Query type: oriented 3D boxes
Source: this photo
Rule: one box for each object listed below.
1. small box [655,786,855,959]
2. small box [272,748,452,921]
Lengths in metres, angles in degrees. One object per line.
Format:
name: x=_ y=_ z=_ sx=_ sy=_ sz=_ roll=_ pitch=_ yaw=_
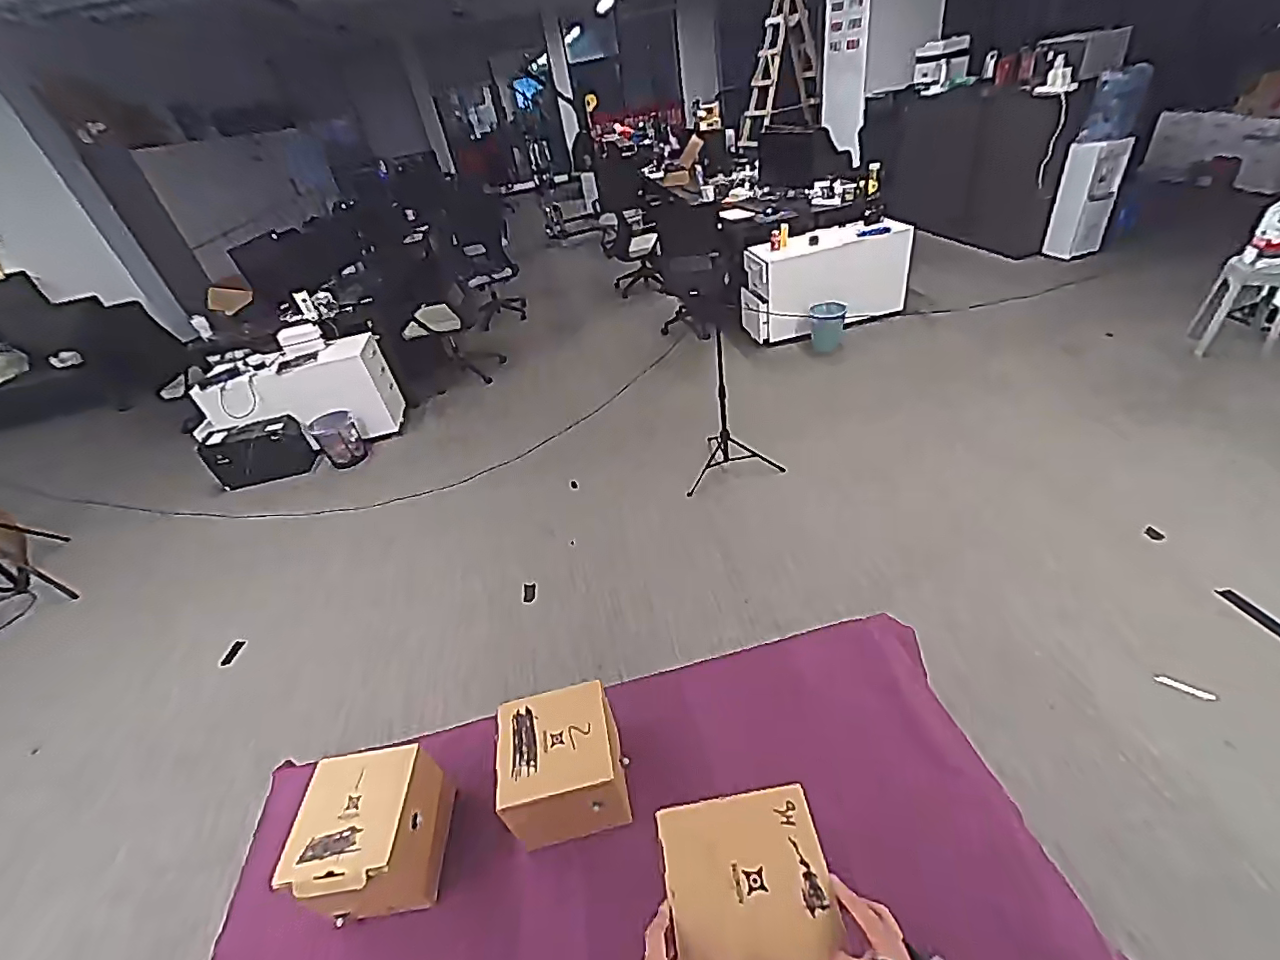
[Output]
small box: x=0.124 y=0.482 z=0.622 sx=0.179 sy=0.176 sz=0.168 roll=-11 pitch=44 yaw=0
small box: x=-0.411 y=0.552 z=0.838 sx=0.168 sy=0.176 sz=0.179 roll=-10 pitch=37 yaw=1
